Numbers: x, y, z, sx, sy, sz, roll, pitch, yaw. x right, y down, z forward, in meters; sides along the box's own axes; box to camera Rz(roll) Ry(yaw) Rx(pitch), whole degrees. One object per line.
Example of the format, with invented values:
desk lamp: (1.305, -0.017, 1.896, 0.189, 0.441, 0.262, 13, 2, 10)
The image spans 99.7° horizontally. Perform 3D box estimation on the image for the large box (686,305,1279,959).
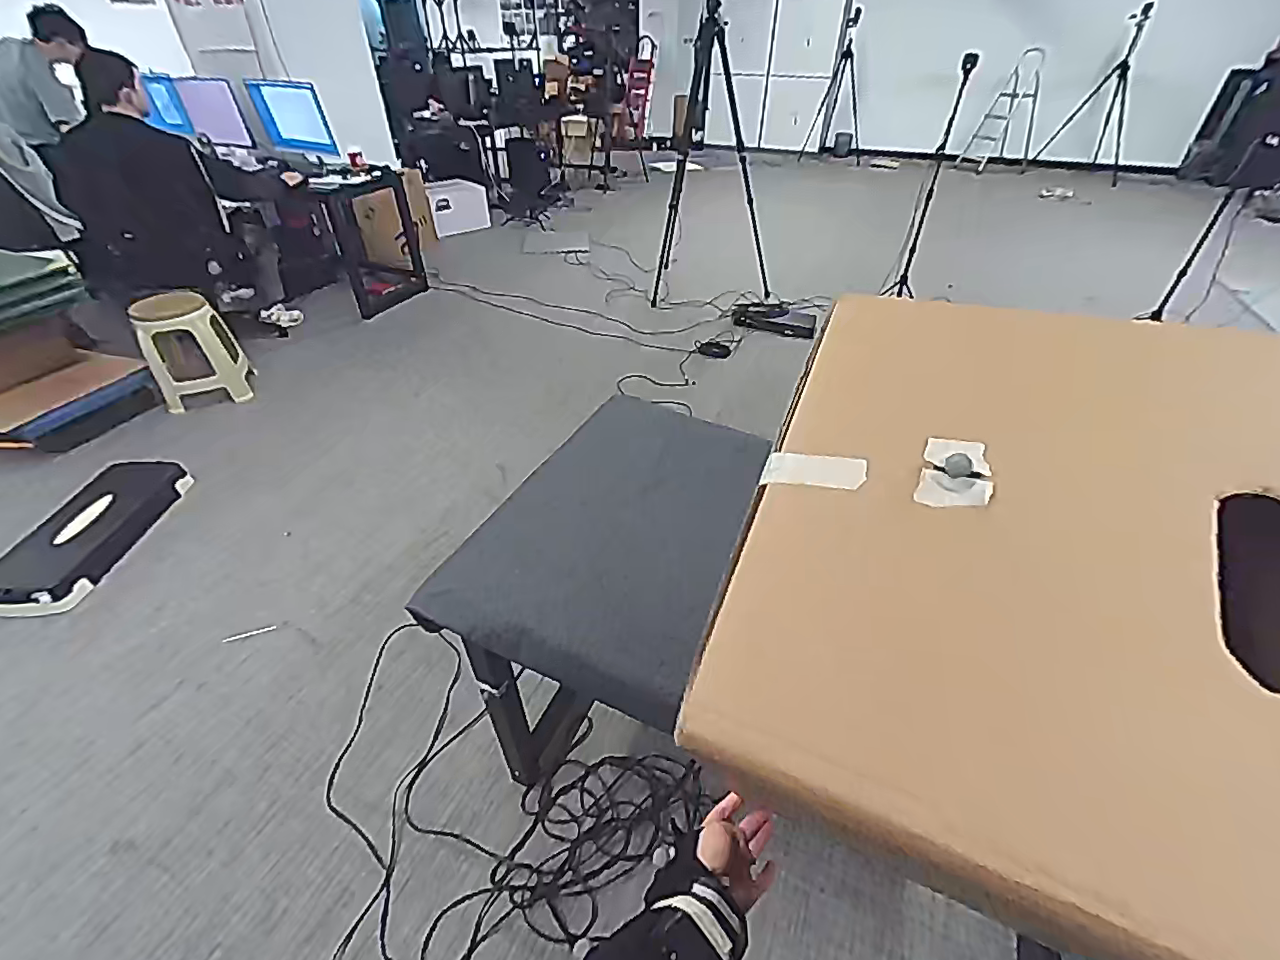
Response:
large box: (0.251, 0.129, 0.430, 0.320, 0.408, 0.320, 15, 64, 22)
